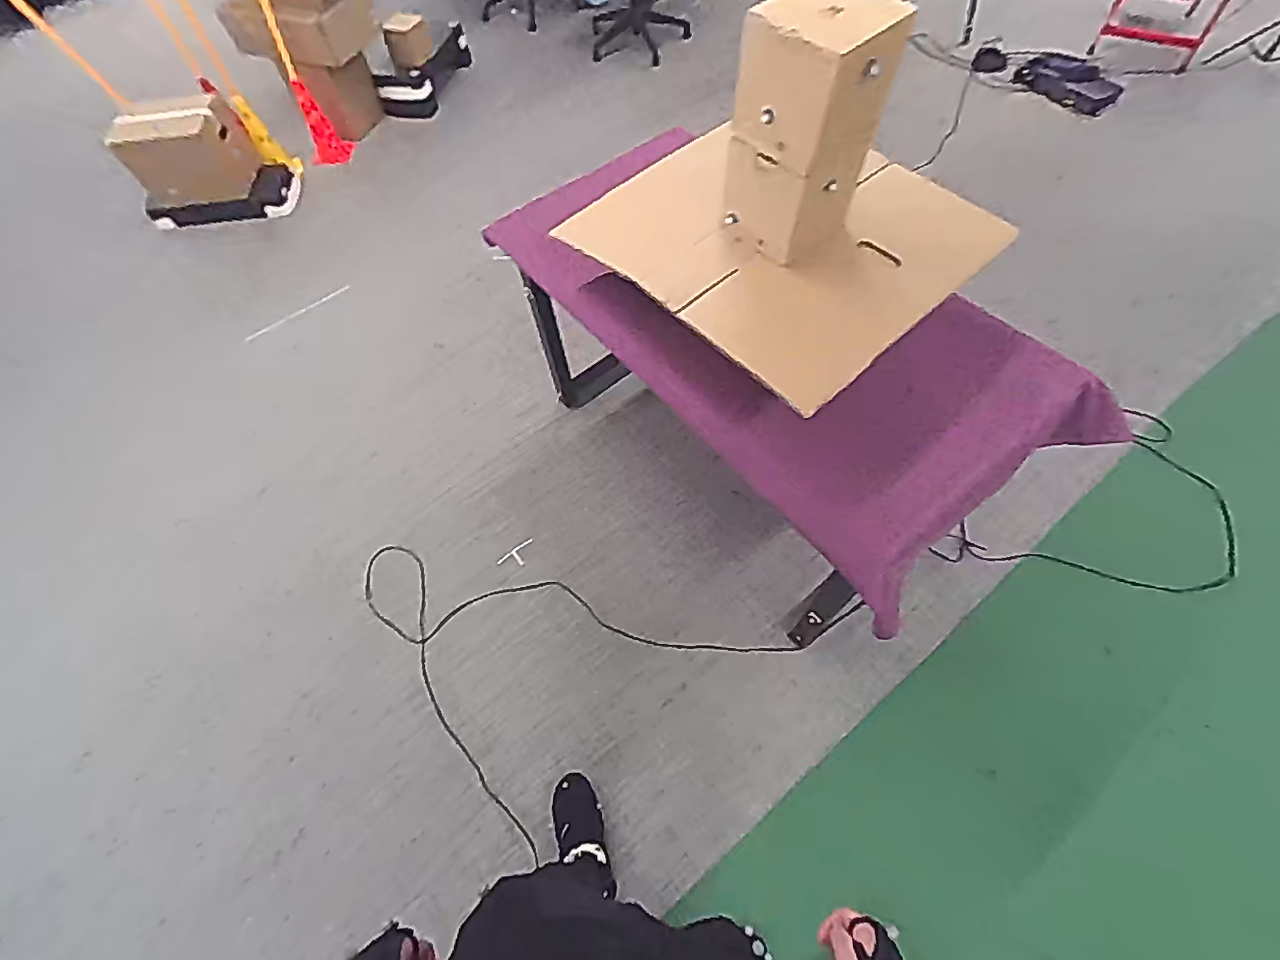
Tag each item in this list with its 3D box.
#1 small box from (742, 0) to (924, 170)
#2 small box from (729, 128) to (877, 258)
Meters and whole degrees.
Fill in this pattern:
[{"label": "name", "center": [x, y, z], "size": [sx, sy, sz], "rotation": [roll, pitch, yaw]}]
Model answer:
[{"label": "small box", "center": [0.273, -0.609, 0.810], "size": [0.179, 0.176, 0.168], "rotation": [-40, 69, -16]}, {"label": "small box", "center": [0.273, -0.528, 0.951], "size": [0.179, 0.176, 0.168], "rotation": [-39, 68, -17]}]
